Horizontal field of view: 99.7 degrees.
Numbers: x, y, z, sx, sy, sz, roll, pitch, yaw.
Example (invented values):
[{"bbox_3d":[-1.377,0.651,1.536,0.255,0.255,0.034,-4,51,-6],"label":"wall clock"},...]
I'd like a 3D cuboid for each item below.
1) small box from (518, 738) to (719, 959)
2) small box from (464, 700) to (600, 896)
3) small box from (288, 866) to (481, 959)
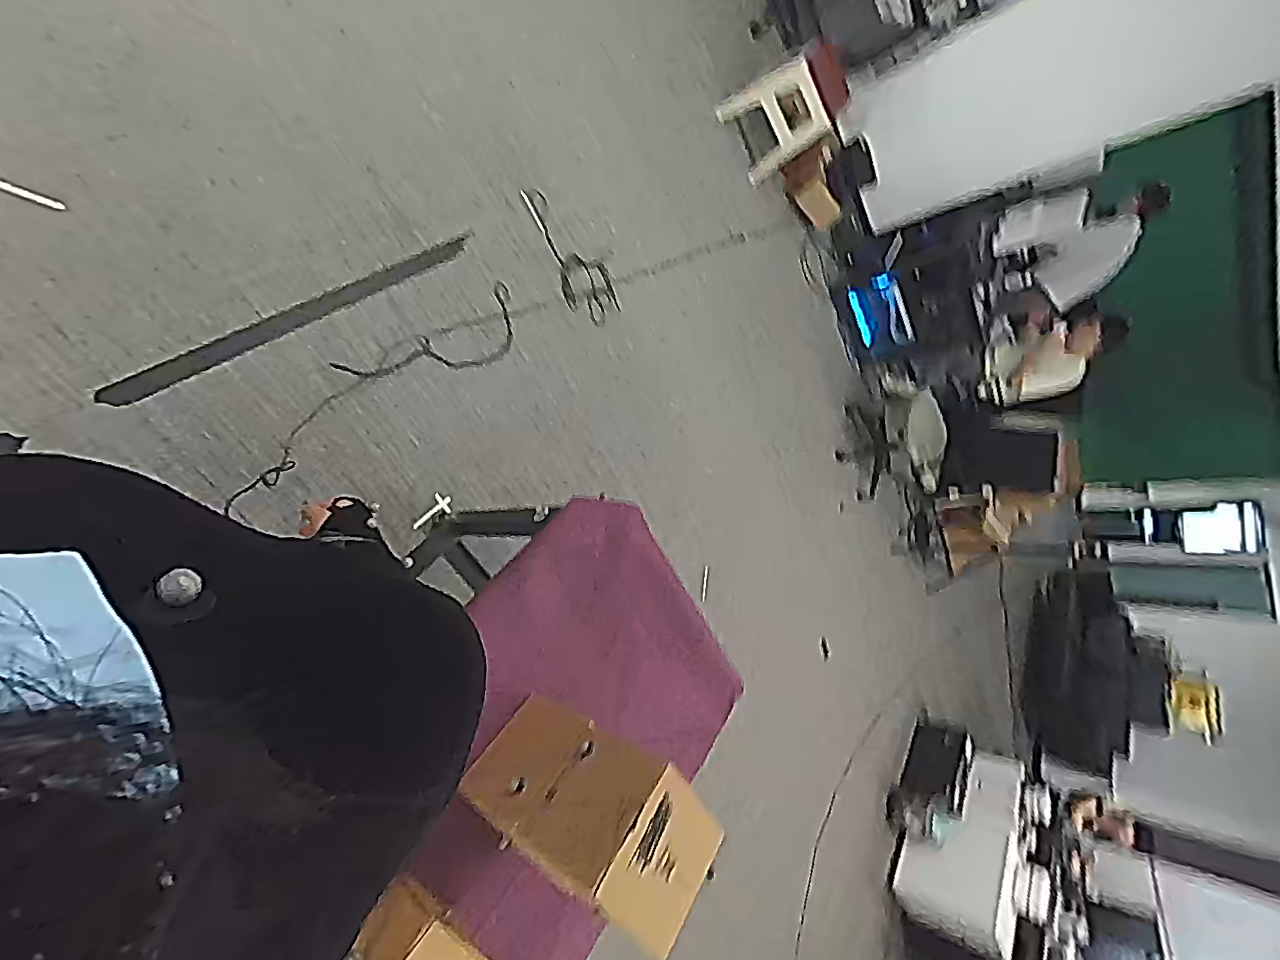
[{"bbox_3d":[-0.030,0.477,0.726,0.168,0.176,0.179,-47,119,-34],"label":"small box"},{"bbox_3d":[-0.146,0.479,0.842,0.179,0.176,0.168,-46,118,-36],"label":"small box"},{"bbox_3d":[-0.312,0.633,0.674,0.168,0.176,0.179,-46,118,-36],"label":"small box"}]
